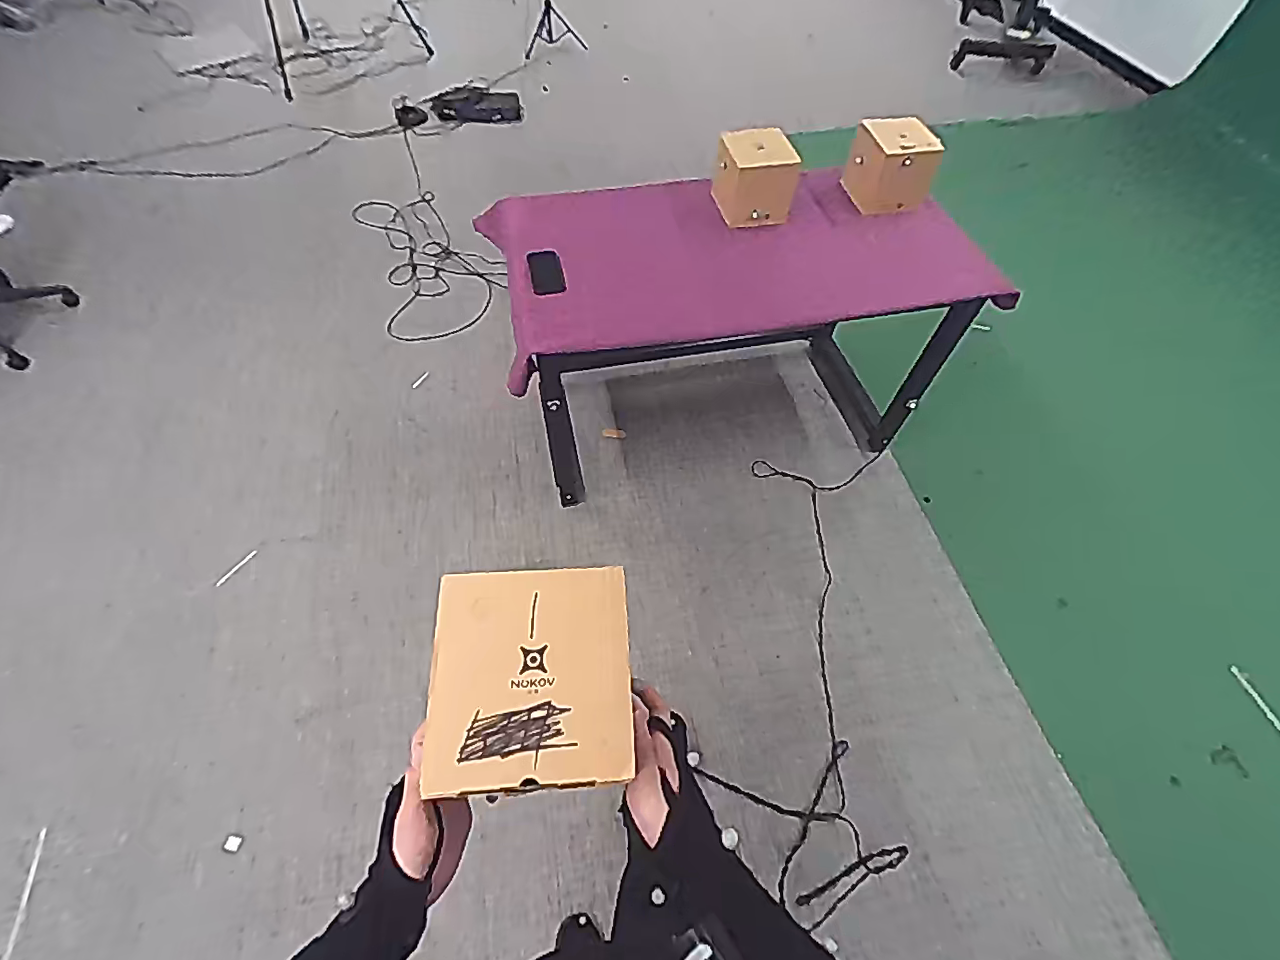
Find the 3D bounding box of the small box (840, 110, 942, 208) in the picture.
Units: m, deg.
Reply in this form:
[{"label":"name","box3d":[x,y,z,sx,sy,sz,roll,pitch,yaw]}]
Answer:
[{"label":"small box","box3d":[0.673,-0.875,1.477,0.168,0.176,0.179,-10,58,-5]}]

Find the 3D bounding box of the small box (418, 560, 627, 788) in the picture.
[{"label":"small box","box3d":[-0.098,0.189,0.524,0.168,0.176,0.179,-2,63,-5]}]

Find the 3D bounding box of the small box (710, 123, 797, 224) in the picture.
[{"label":"small box","box3d":[0.290,-0.810,1.433,0.168,0.176,0.179,-10,59,-6]}]
